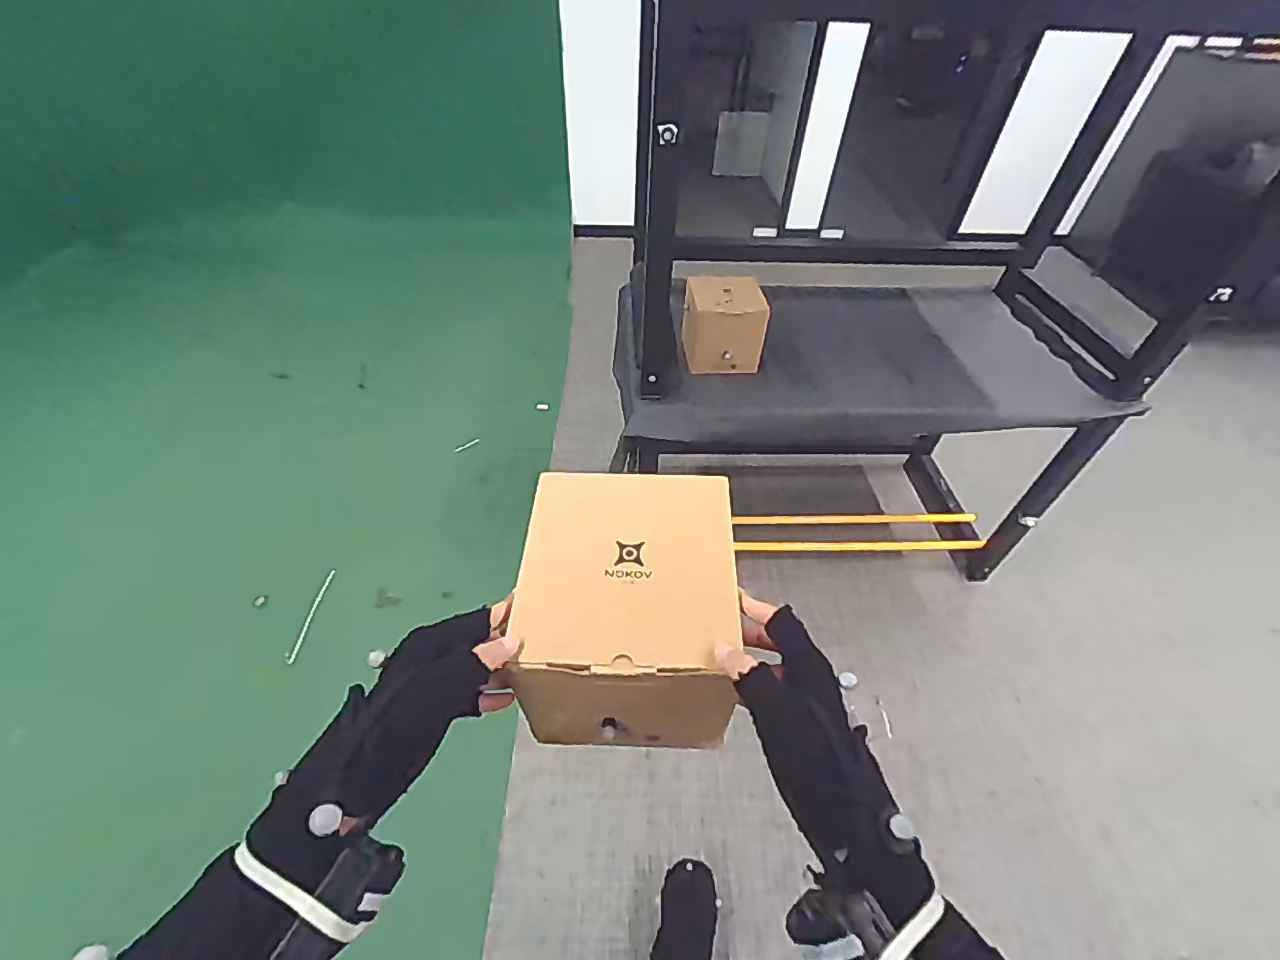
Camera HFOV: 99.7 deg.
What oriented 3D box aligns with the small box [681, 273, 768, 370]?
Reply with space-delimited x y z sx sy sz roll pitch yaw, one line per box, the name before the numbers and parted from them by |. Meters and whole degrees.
small box | 0.195 -0.384 1.308 0.168 0.176 0.179 -2 46 -4
